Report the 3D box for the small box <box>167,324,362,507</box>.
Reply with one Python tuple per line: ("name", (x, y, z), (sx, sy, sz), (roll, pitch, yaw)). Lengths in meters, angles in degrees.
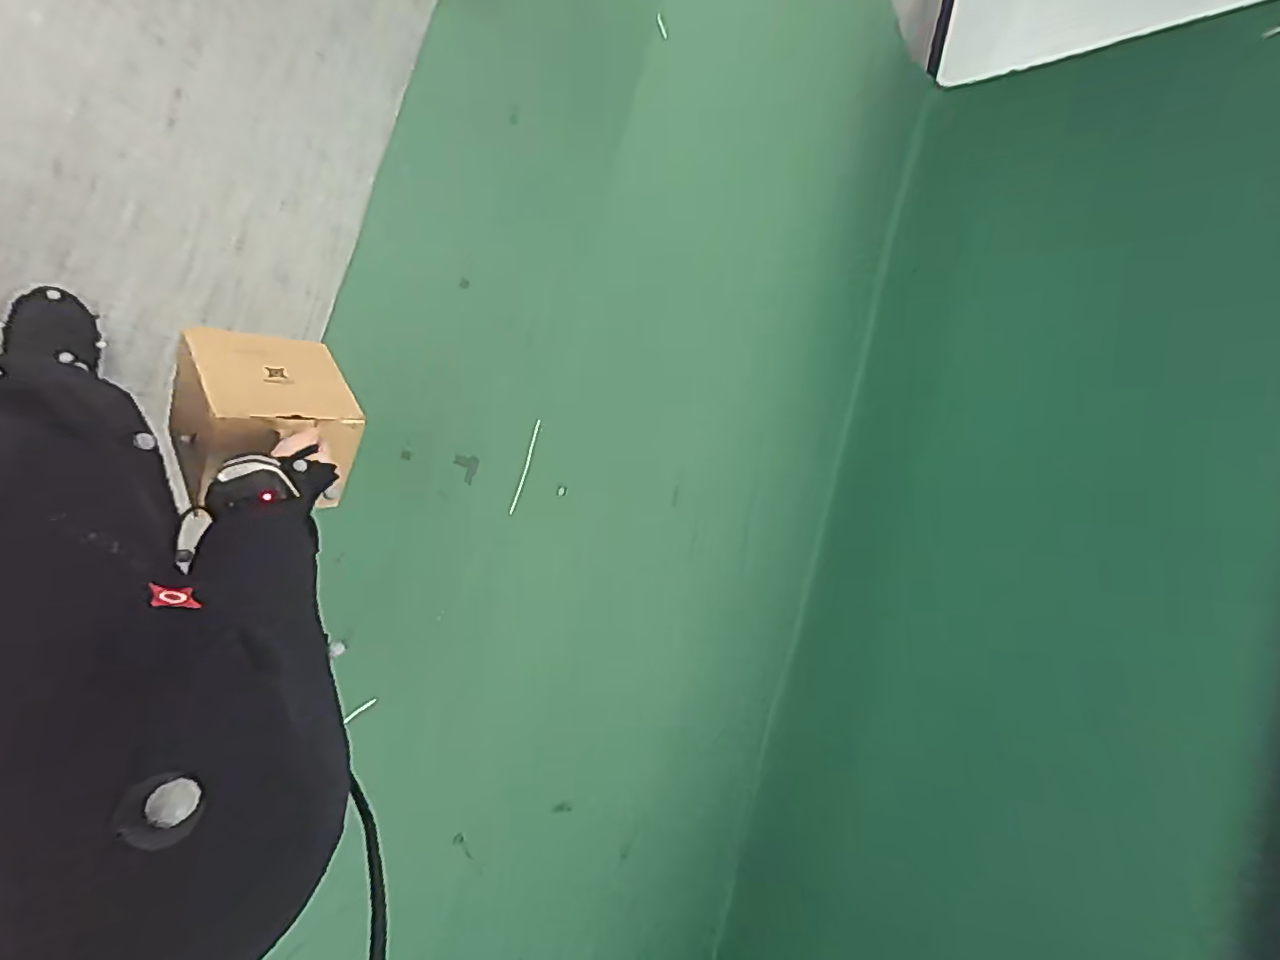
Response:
("small box", (-0.503, -0.077, 0.719), (0.168, 0.179, 0.176), (-4, 136, -51))
